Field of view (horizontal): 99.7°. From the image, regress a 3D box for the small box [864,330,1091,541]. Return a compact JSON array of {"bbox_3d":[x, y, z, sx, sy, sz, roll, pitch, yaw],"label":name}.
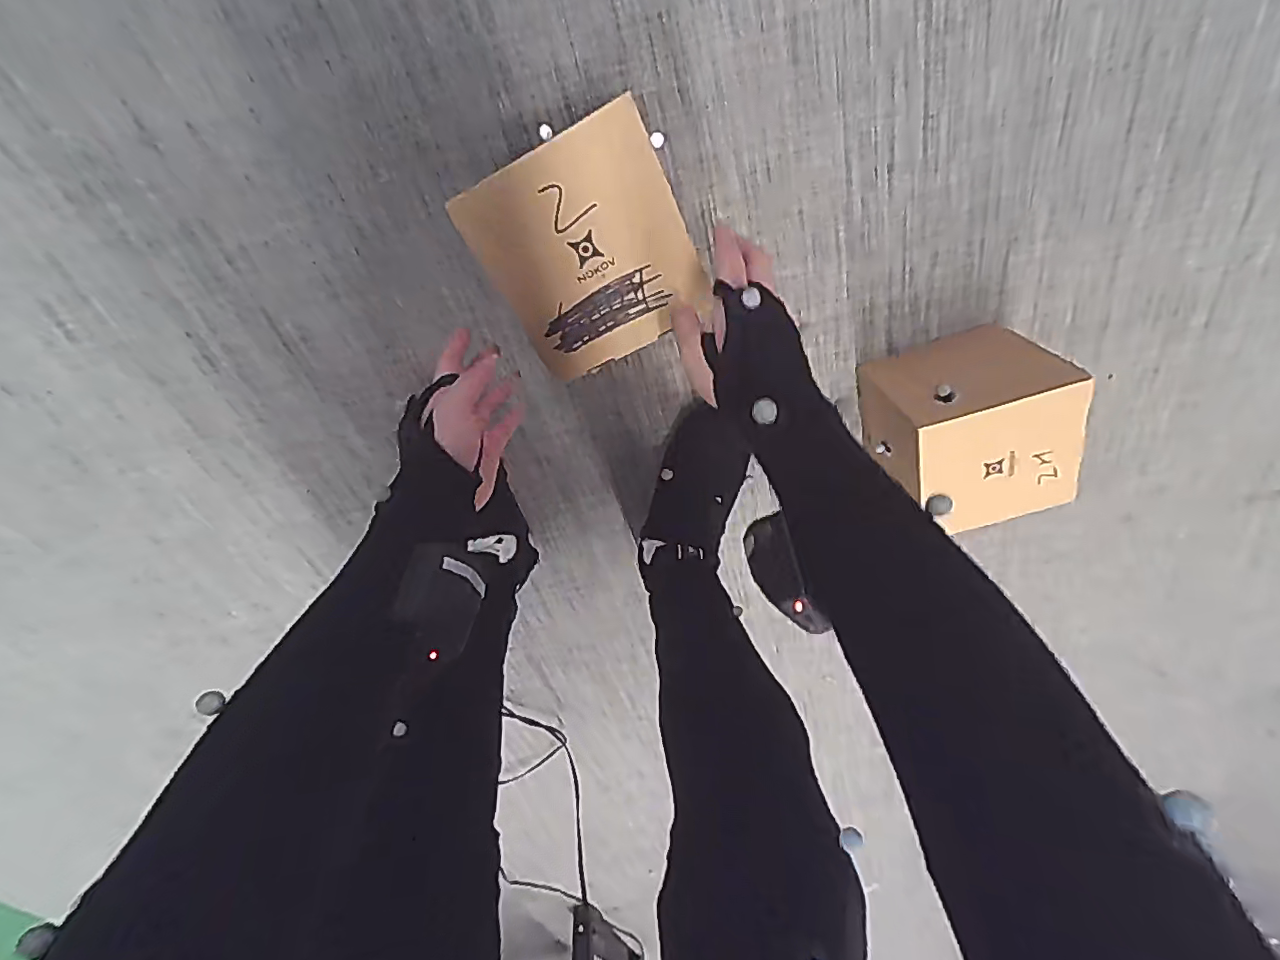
[{"bbox_3d":[0.386,-0.058,0.656,0.179,0.176,0.168,-17,123,8],"label":"small box"}]
